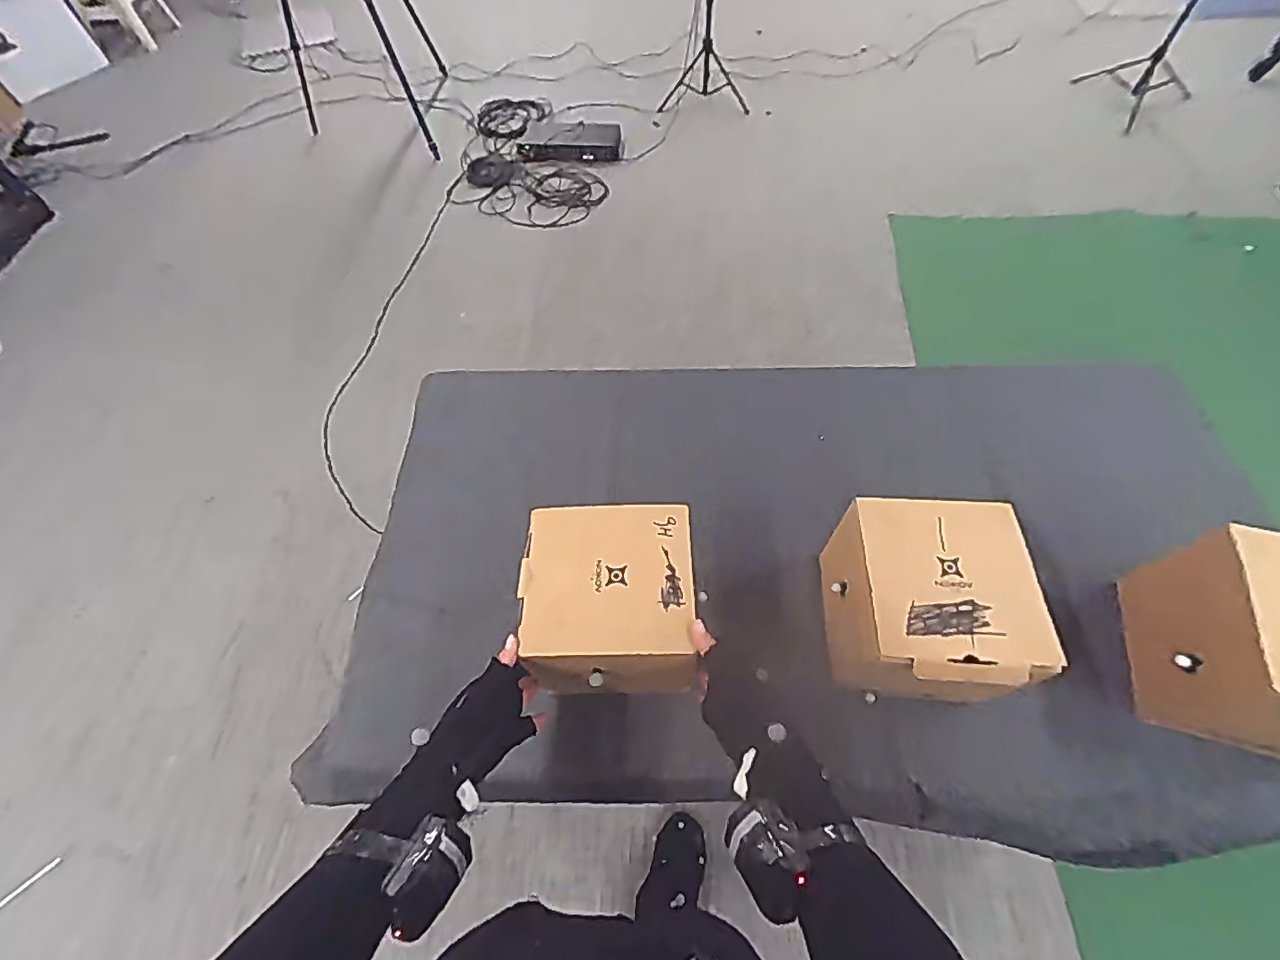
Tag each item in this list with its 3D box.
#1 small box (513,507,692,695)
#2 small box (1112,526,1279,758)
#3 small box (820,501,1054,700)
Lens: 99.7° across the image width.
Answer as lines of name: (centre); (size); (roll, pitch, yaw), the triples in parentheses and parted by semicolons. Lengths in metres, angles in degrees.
small box: (-0.031, 0.145, 0.623); (0.179, 0.176, 0.168); (-2, 57, 2)
small box: (0.652, 0.177, 0.569); (0.168, 0.176, 0.179); (13, 59, 10)
small box: (0.309, 0.141, 0.610); (0.168, 0.176, 0.179); (2, 58, 5)
